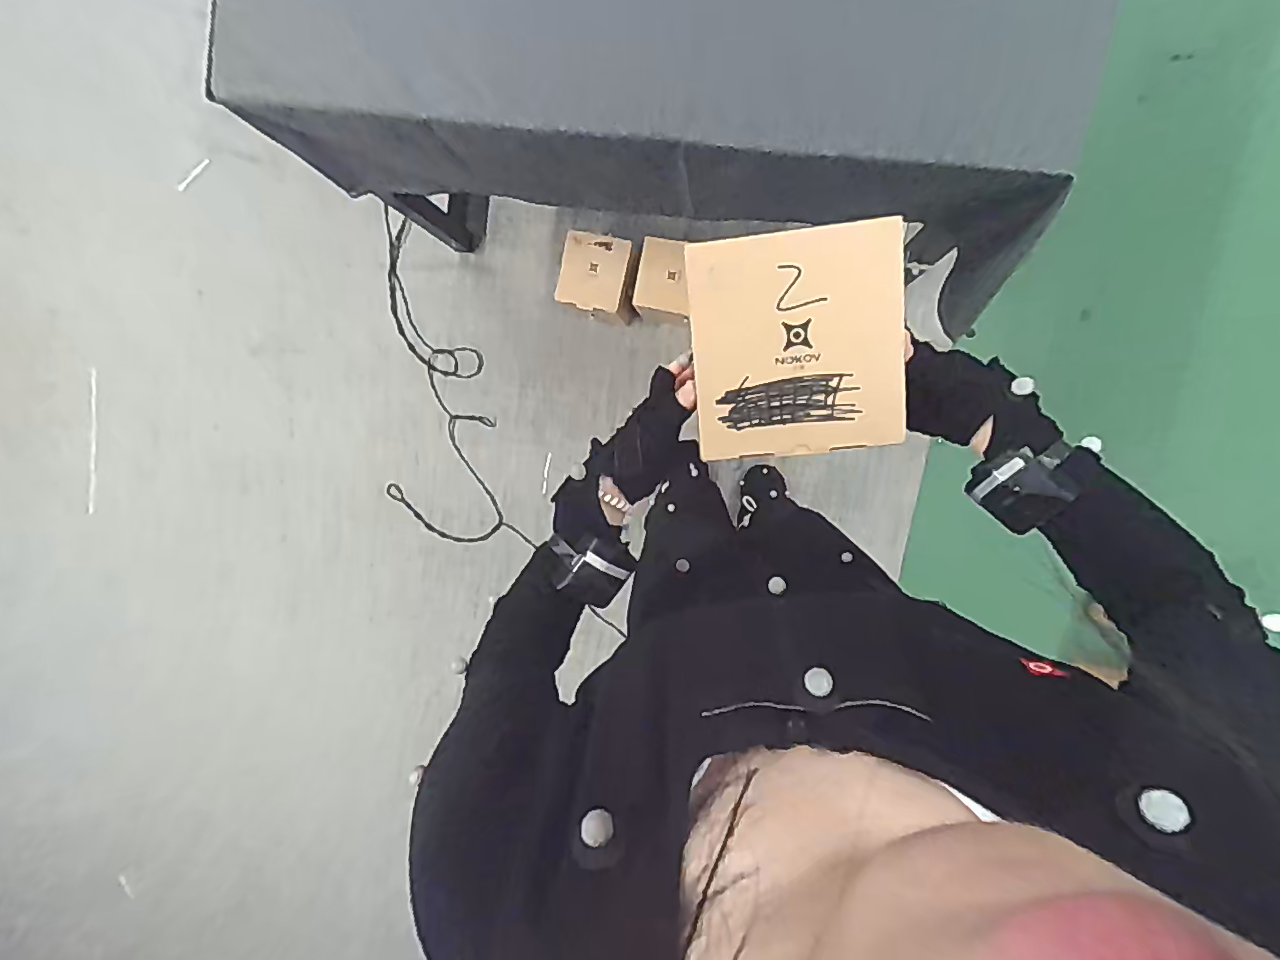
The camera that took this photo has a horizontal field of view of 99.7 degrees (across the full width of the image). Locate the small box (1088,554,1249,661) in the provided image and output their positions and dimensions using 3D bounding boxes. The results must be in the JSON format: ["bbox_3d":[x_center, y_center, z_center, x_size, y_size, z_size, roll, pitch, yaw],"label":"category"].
[{"bbox_3d":[1.219,0.287,1.263,0.179,0.176,0.168,21,97,7],"label":"small box"}]
